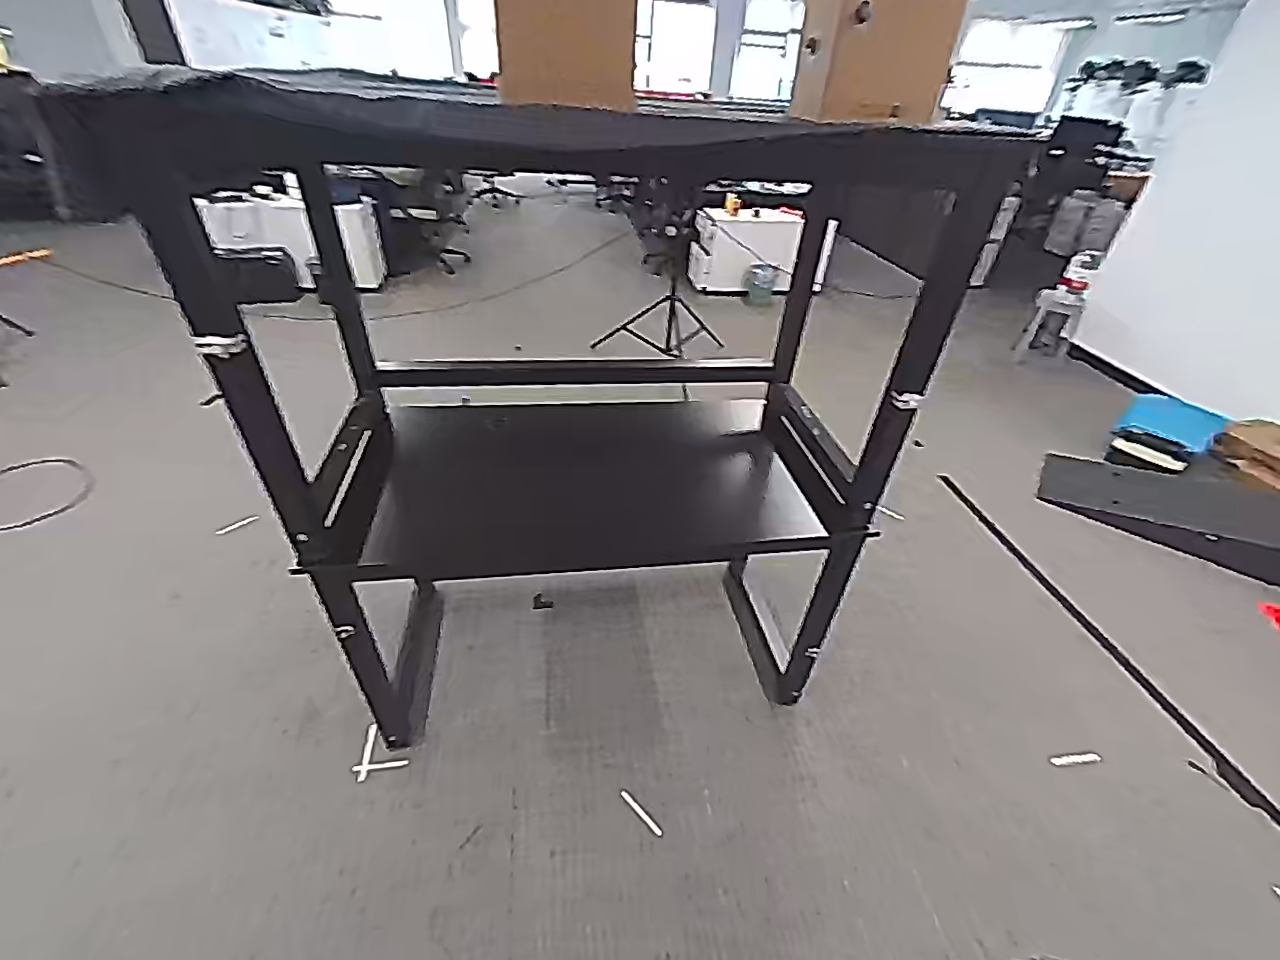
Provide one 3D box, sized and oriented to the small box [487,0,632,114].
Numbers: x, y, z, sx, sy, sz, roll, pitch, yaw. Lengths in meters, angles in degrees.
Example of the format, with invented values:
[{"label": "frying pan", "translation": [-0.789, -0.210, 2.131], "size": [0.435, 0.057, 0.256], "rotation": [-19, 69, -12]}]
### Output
[{"label": "small box", "translation": [-0.107, -0.589, 0.712], "size": [0.179, 0.176, 0.168], "rotation": [-4, 37, -12]}]
